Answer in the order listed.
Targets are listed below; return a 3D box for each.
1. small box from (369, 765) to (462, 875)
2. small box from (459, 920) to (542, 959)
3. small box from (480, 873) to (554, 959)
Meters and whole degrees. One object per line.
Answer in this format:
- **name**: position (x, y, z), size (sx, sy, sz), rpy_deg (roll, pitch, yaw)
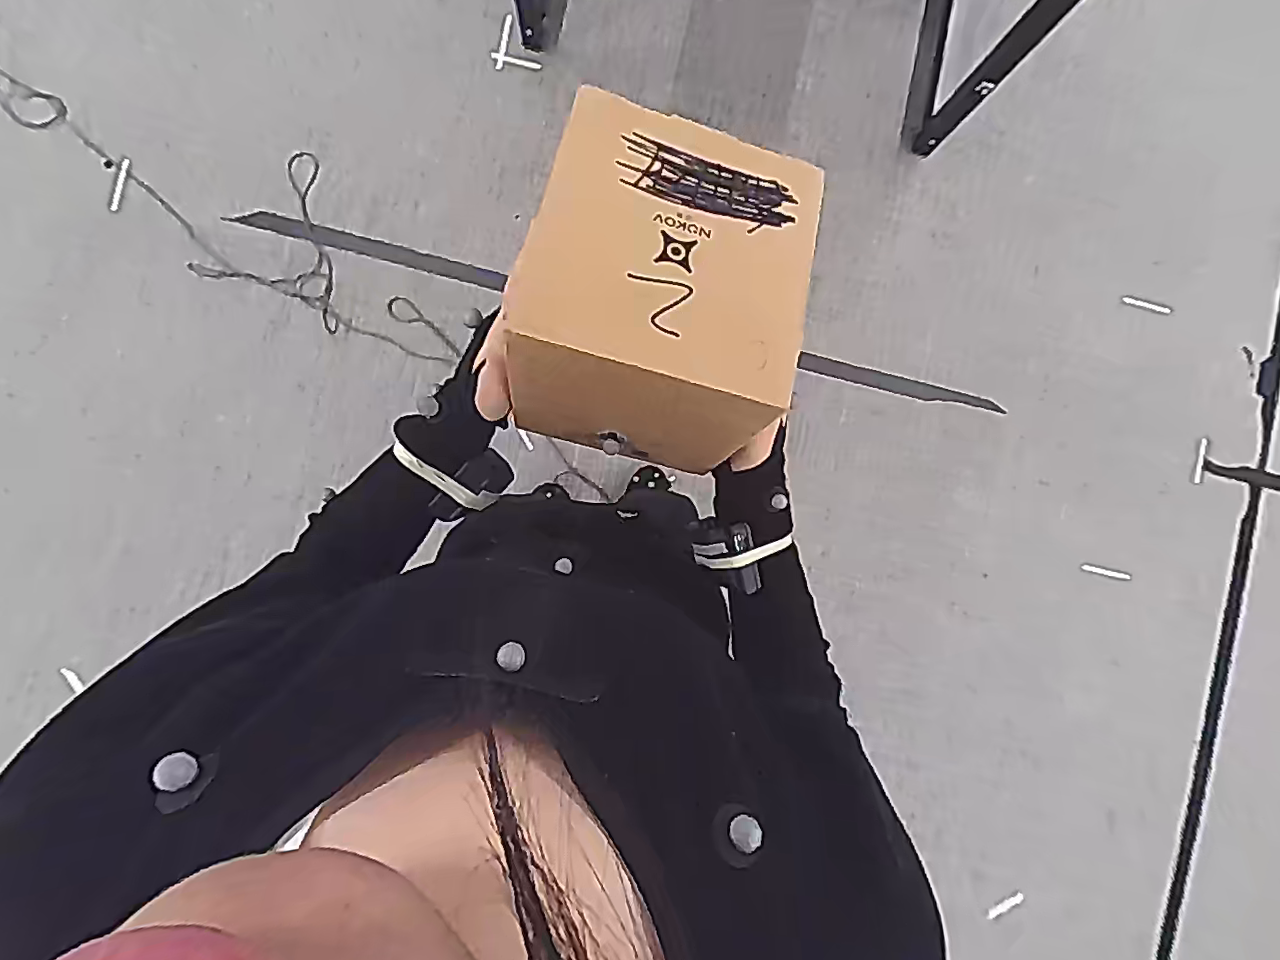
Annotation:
- **small box**: position (-0.555, 0.845, 1.360), size (0.168, 0.176, 0.179), rpy_deg (7, 89, -4)
- **small box**: position (-0.328, 1.135, 1.209), size (0.179, 0.176, 0.168), rpy_deg (10, 90, -4)
- **small box**: position (-0.317, 1.141, 1.375), size (0.179, 0.176, 0.168), rpy_deg (6, 89, -5)
